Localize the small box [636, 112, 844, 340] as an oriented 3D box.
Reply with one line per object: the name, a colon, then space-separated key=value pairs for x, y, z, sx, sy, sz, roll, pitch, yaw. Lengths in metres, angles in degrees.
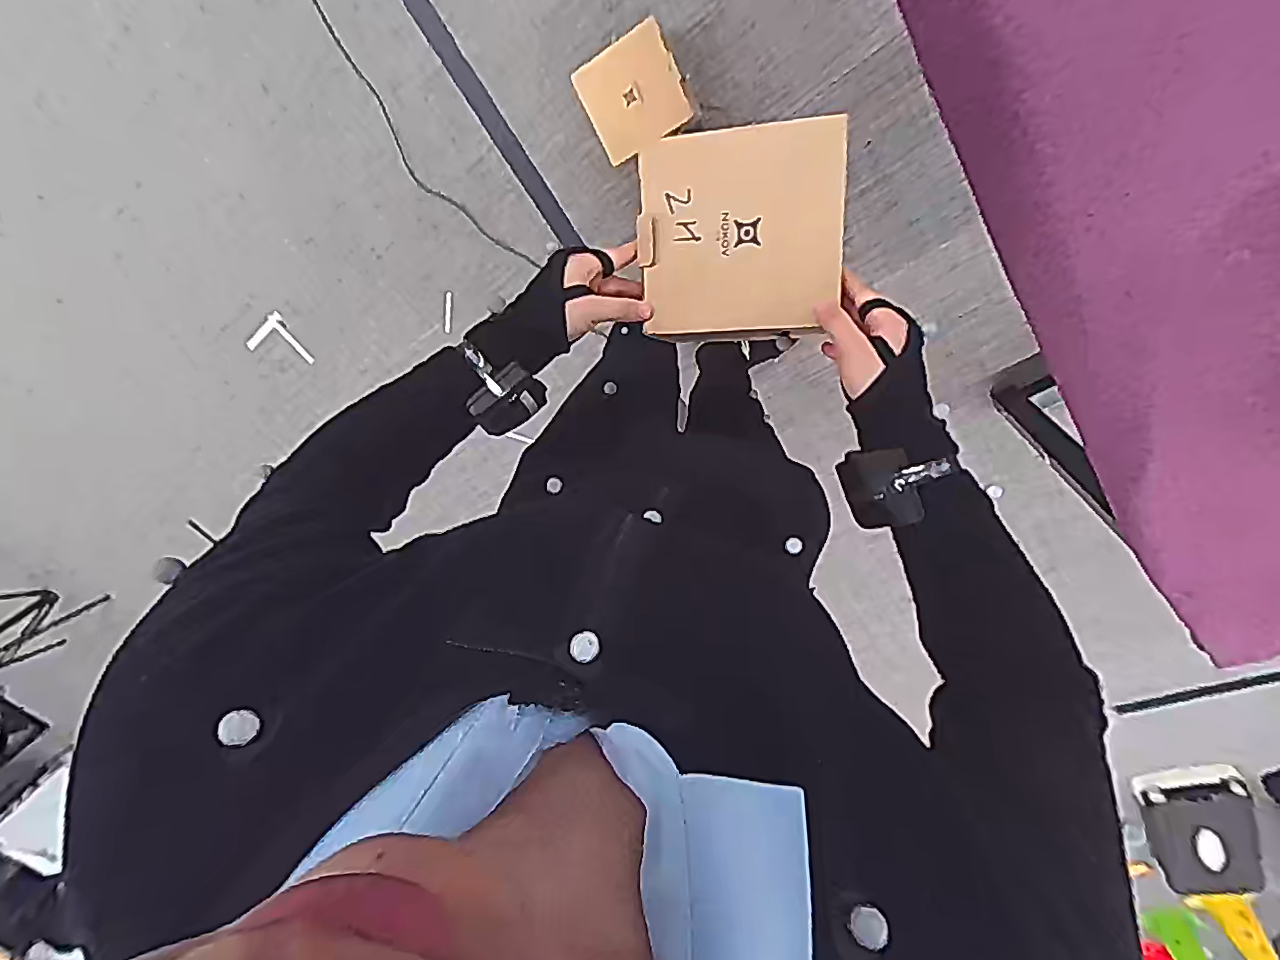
small box: x=0.103 y=-0.233 z=0.546 sx=0.179 sy=0.176 sz=0.168 roll=0 pitch=100 yaw=15

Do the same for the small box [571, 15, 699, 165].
small box: x=0.000 y=-0.735 z=1.040 sx=0.179 sy=0.176 sz=0.168 roll=-21 pitch=116 yaw=22
